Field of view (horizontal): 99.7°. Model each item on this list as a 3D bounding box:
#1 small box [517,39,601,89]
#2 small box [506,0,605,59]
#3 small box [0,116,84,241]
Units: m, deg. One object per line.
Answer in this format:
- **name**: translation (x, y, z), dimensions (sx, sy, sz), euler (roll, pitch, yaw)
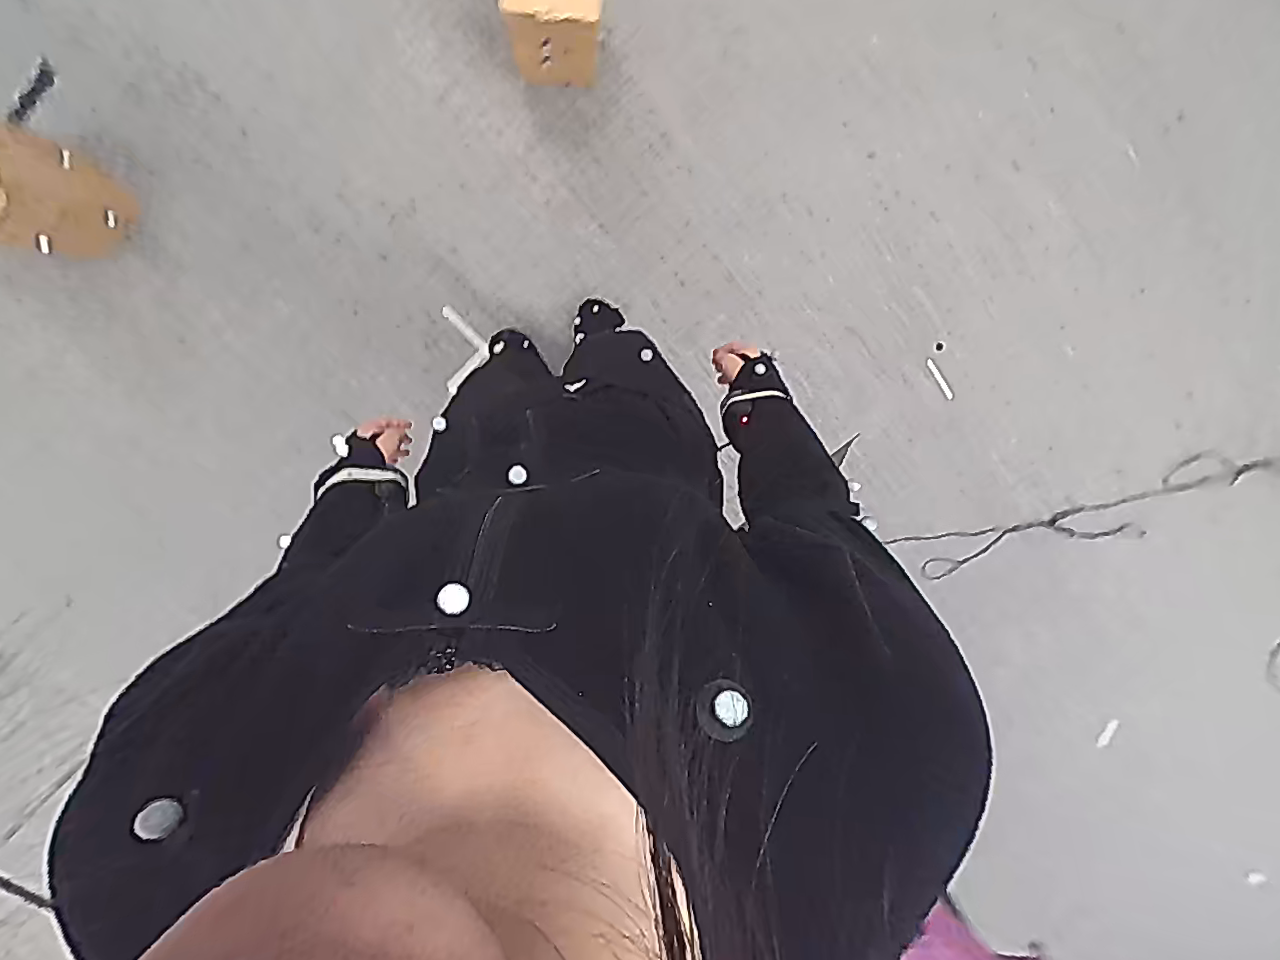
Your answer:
- **small box**: translation (-0.163, -0.945, 1.112), dimensions (0.168, 0.176, 0.179), euler (2, 109, -7)
- **small box**: translation (-0.146, -0.891, 0.958), dimensions (0.168, 0.176, 0.179), euler (1, 110, -7)
- **small box**: translation (-1.193, -0.556, 0.978), dimensions (0.168, 0.176, 0.179), euler (-43, 107, 9)
